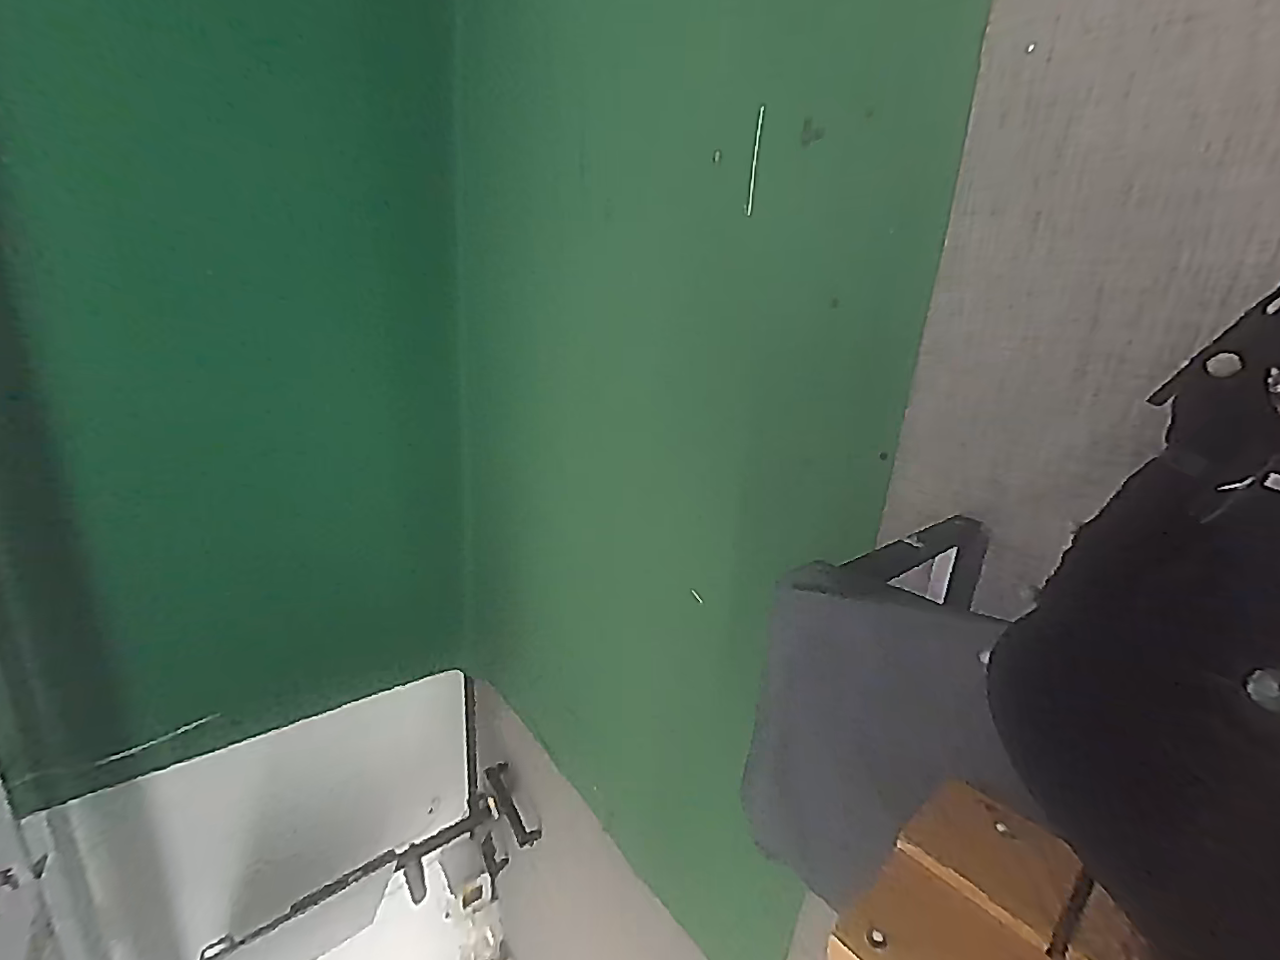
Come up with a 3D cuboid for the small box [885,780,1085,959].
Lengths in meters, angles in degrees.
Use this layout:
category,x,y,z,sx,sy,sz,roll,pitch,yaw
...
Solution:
category,x,y,z,sx,sy,sz,roll,pitch,yaw
small box,0.451,0.548,0.710,0.168,0.176,0.179,19,112,46
